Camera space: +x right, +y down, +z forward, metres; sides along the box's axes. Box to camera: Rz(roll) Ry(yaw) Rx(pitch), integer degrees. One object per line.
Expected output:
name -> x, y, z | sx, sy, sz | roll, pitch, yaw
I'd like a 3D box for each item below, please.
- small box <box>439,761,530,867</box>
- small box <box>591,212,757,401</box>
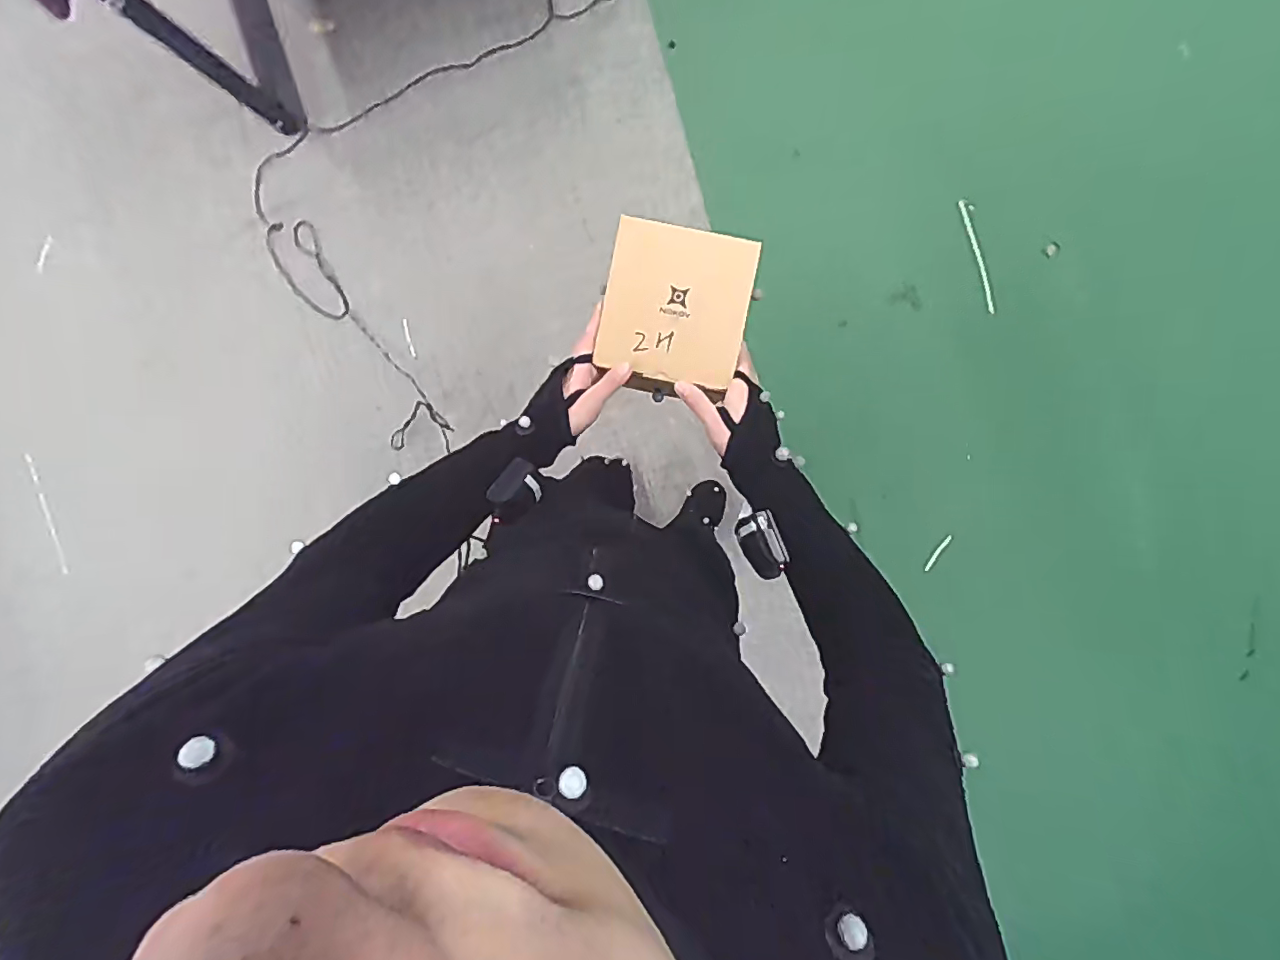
small box -> -0.409, 0.889, 1.449 | 0.168, 0.176, 0.179 | -11, 91, 8
small box -> 0.039, -0.209, 0.698 | 0.168, 0.176, 0.179 | 11, 93, 1
